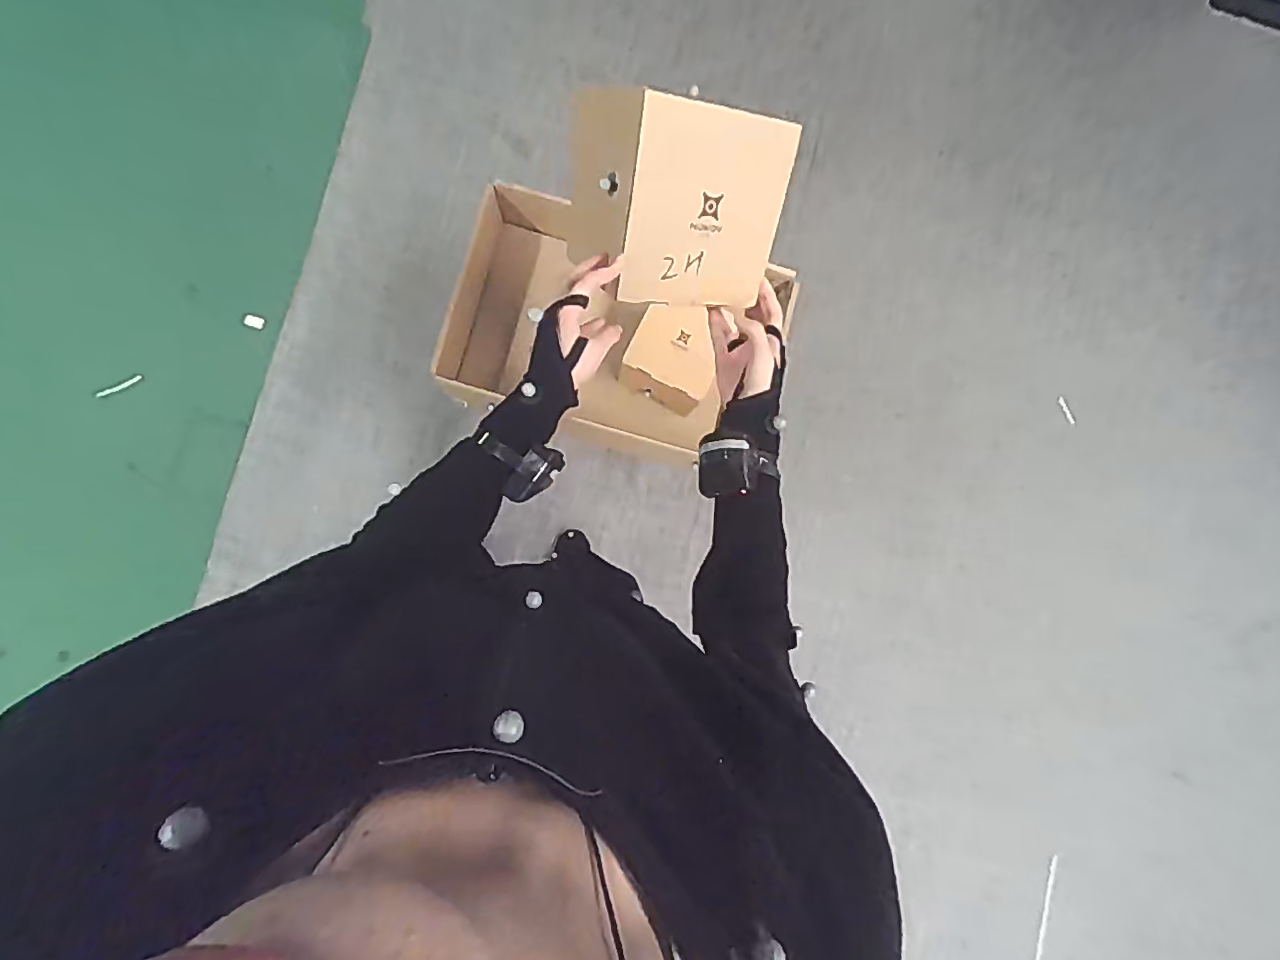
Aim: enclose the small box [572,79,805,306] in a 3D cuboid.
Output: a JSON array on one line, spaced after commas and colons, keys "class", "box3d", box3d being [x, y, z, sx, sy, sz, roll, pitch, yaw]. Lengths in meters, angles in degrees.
[{"class": "small box", "box3d": [0.034, -0.298, 0.565, 0.168, 0.176, 0.179, -5, 127, -23]}]
